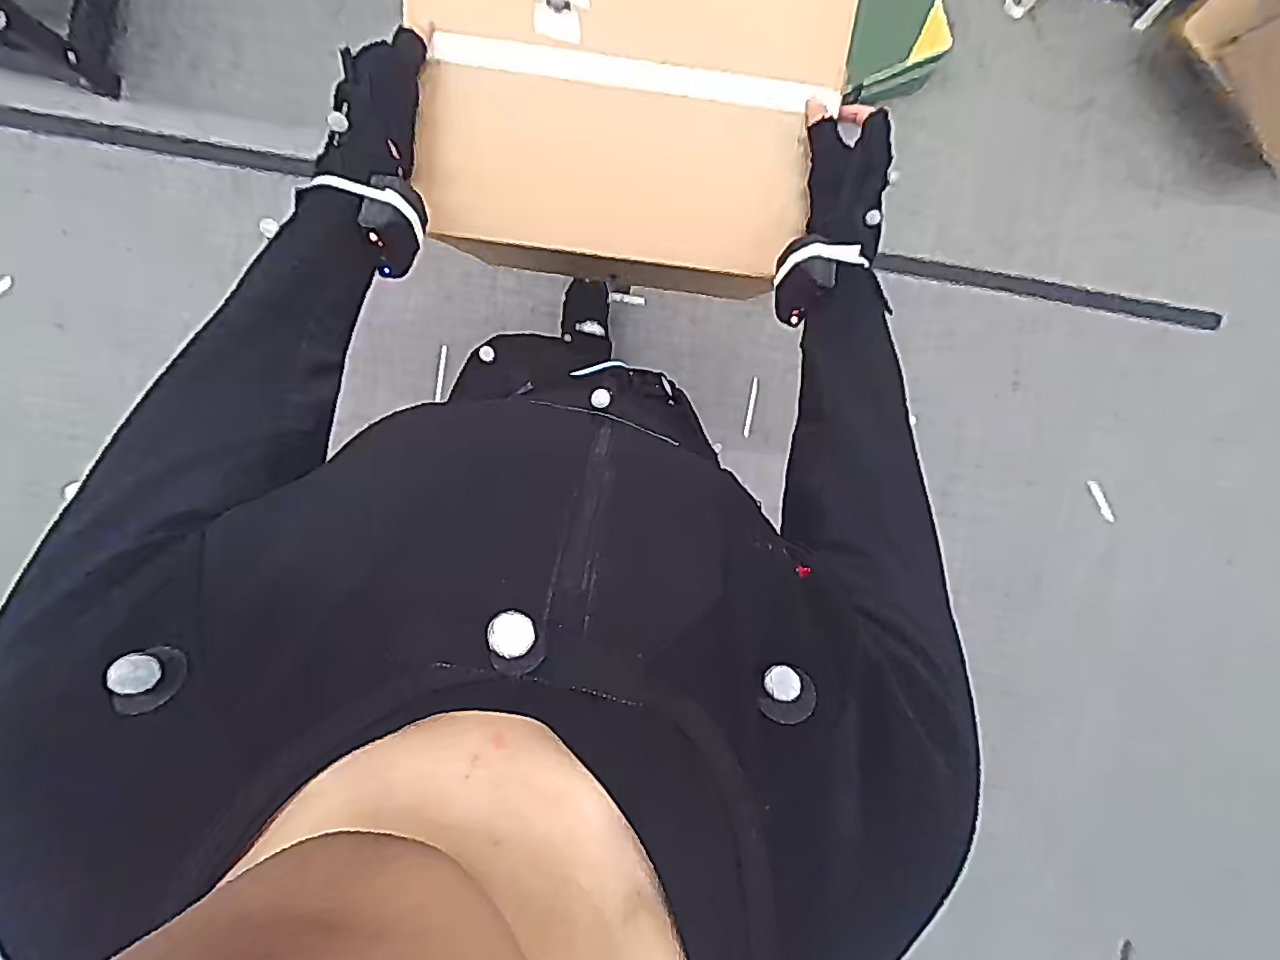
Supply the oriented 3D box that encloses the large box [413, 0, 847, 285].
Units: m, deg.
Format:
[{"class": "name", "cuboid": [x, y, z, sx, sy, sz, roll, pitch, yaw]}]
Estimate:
[{"class": "large box", "cuboid": [-0.013, -0.427, 0.655, 0.408, 0.320, 0.320, 7, 104, -2]}]
